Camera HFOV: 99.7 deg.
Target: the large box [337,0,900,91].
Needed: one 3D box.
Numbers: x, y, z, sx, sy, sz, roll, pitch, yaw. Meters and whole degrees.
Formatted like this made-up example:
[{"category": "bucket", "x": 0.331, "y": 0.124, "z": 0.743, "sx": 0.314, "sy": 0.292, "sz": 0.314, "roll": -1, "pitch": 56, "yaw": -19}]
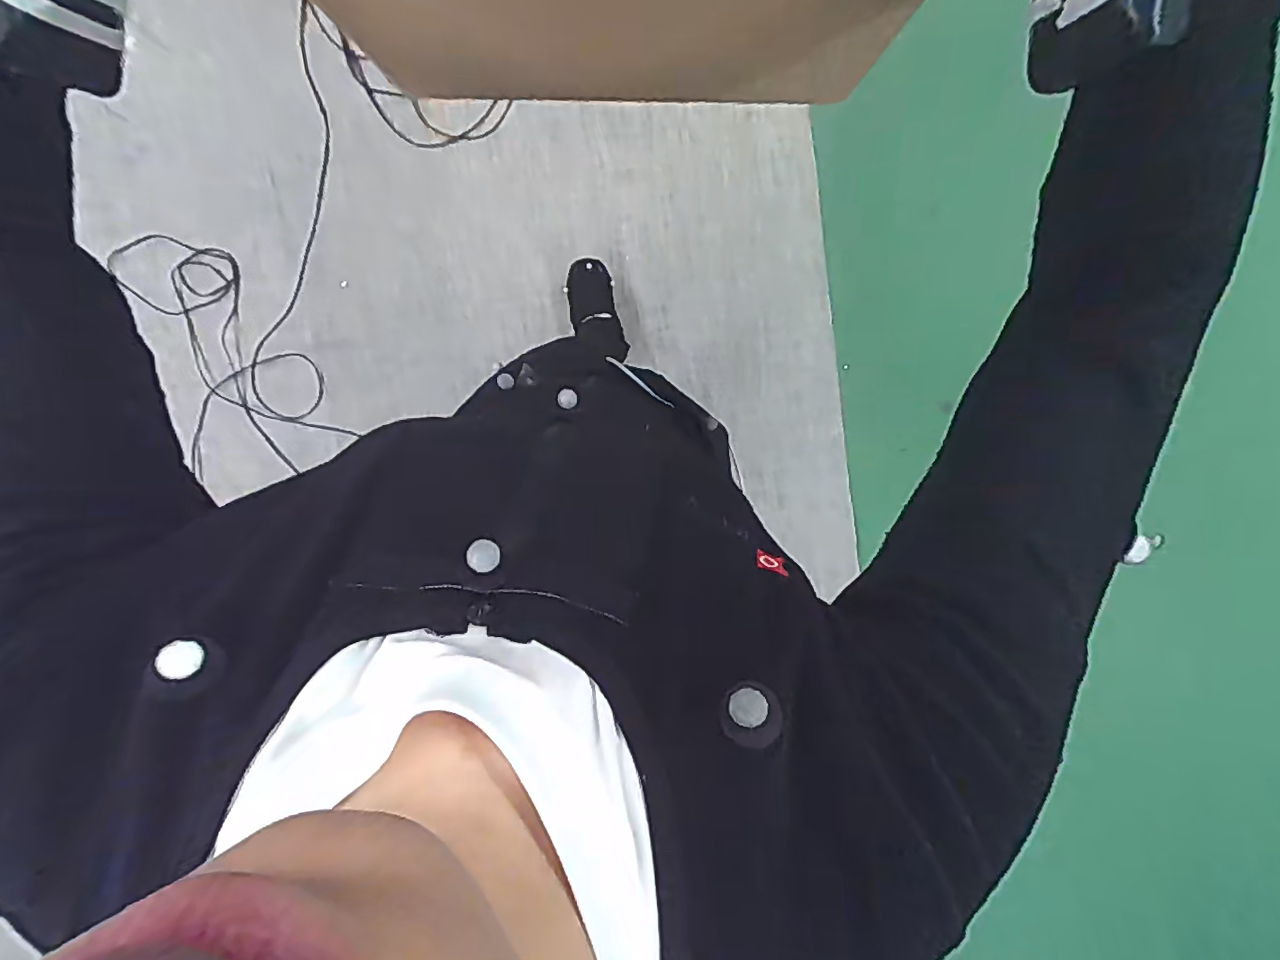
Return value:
[{"category": "large box", "x": -0.015, "y": -0.471, "z": 0.316, "sx": 0.408, "sy": 0.320, "sz": 0.320, "roll": 1, "pitch": 104, "yaw": 0}]
